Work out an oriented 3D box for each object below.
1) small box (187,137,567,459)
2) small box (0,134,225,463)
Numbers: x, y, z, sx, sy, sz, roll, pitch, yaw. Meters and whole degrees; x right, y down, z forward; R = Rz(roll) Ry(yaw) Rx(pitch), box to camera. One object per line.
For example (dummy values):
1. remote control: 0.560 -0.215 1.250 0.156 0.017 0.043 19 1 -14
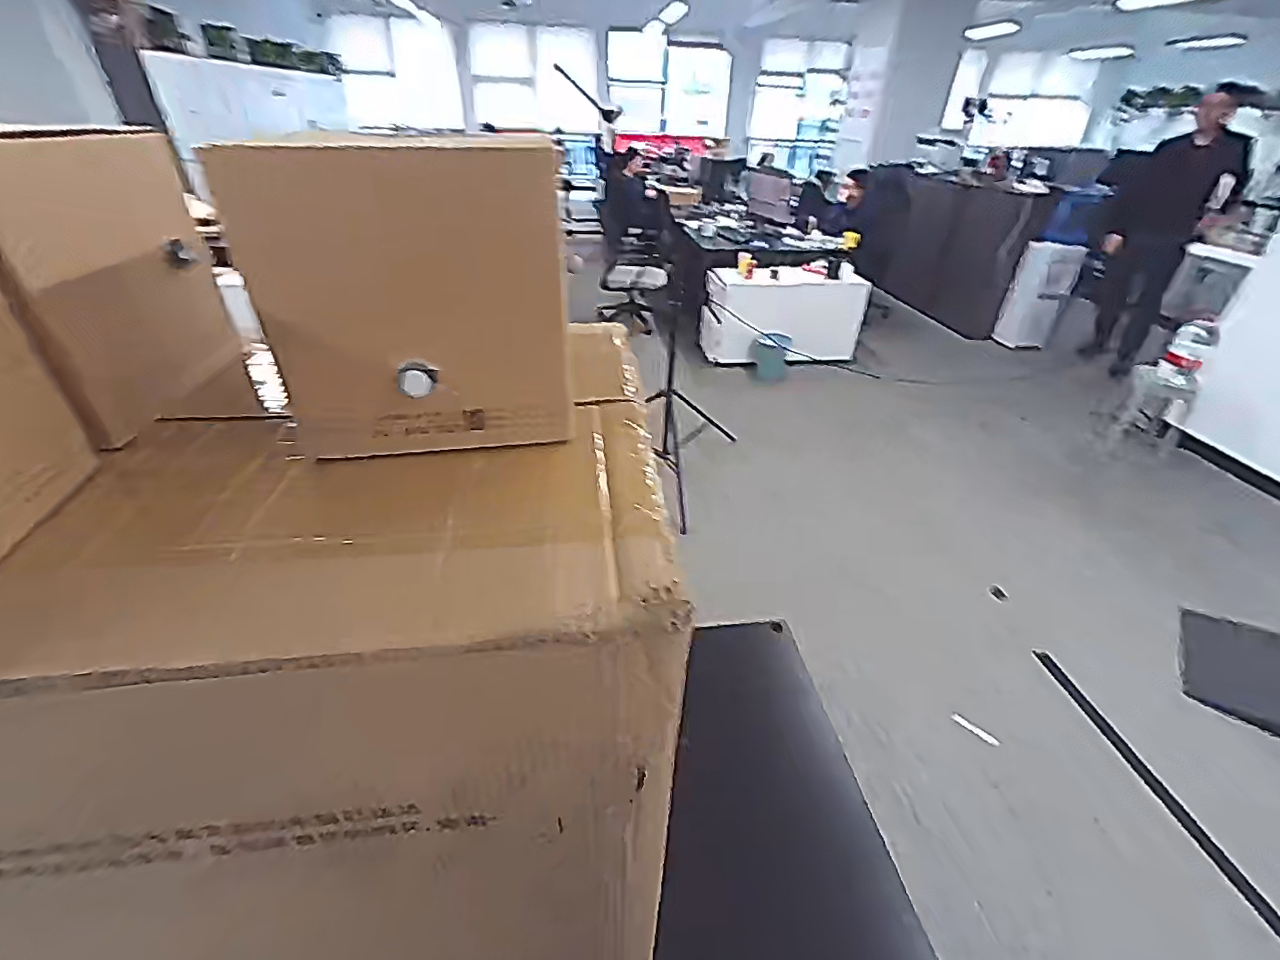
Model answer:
1. small box: -0.141 -0.131 0.368 0.168 0.176 0.179 -6 34 -8
2. small box: -0.415 -0.123 0.350 0.168 0.176 0.179 -4 34 -8
